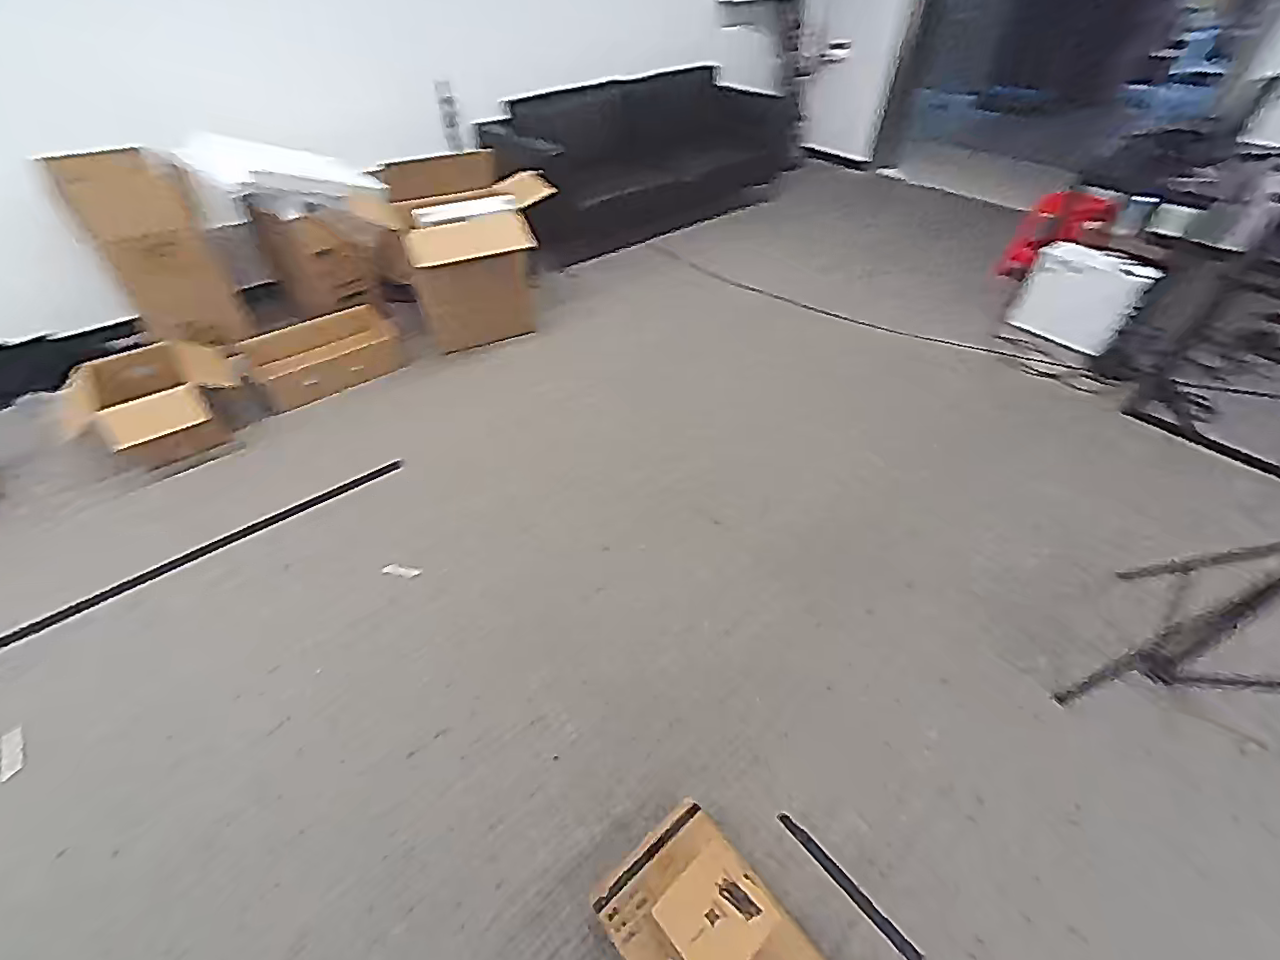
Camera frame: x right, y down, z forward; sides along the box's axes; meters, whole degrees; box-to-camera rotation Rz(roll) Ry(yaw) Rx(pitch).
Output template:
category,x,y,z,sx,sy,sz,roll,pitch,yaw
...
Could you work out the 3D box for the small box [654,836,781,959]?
category,x,y,z,sx,sy,sz,roll,pitch,yaw
small box,0.138,0.831,1.031,0.179,0.176,0.168,-32,53,-27
